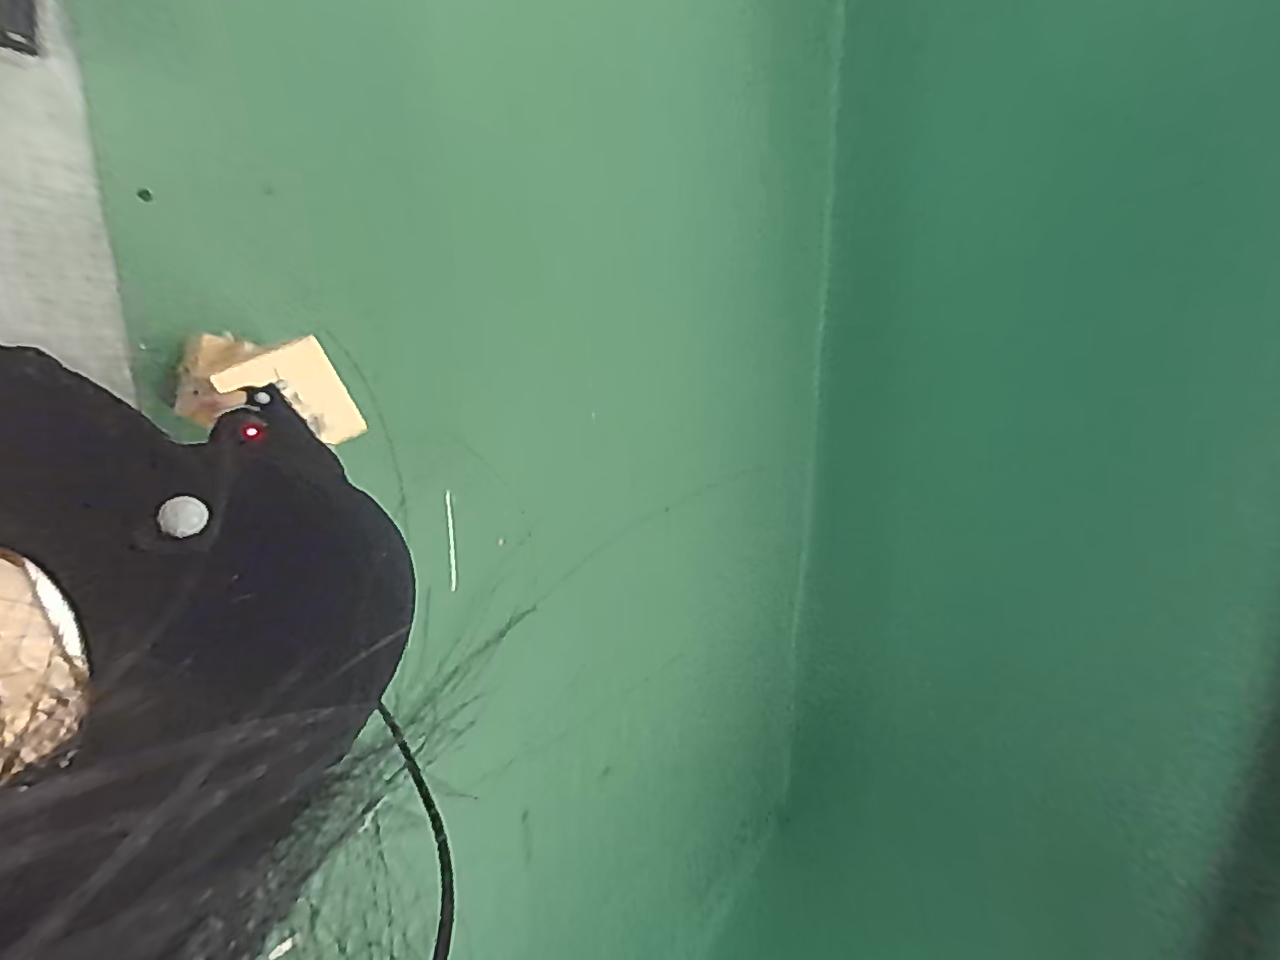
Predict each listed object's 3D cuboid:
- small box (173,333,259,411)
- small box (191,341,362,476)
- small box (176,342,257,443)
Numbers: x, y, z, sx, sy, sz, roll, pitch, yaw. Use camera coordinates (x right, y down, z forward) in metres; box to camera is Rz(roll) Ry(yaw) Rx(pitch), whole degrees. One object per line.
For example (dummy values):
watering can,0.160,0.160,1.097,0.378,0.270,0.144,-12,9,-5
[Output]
small box,-0.862,-0.201,1.150,0.179,0.176,0.168,11,91,-49
small box,-0.626,-0.130,0.935,0.168,0.176,0.179,-39,125,-35
small box,-0.747,-0.146,1.045,0.179,0.176,0.168,41,69,-45
